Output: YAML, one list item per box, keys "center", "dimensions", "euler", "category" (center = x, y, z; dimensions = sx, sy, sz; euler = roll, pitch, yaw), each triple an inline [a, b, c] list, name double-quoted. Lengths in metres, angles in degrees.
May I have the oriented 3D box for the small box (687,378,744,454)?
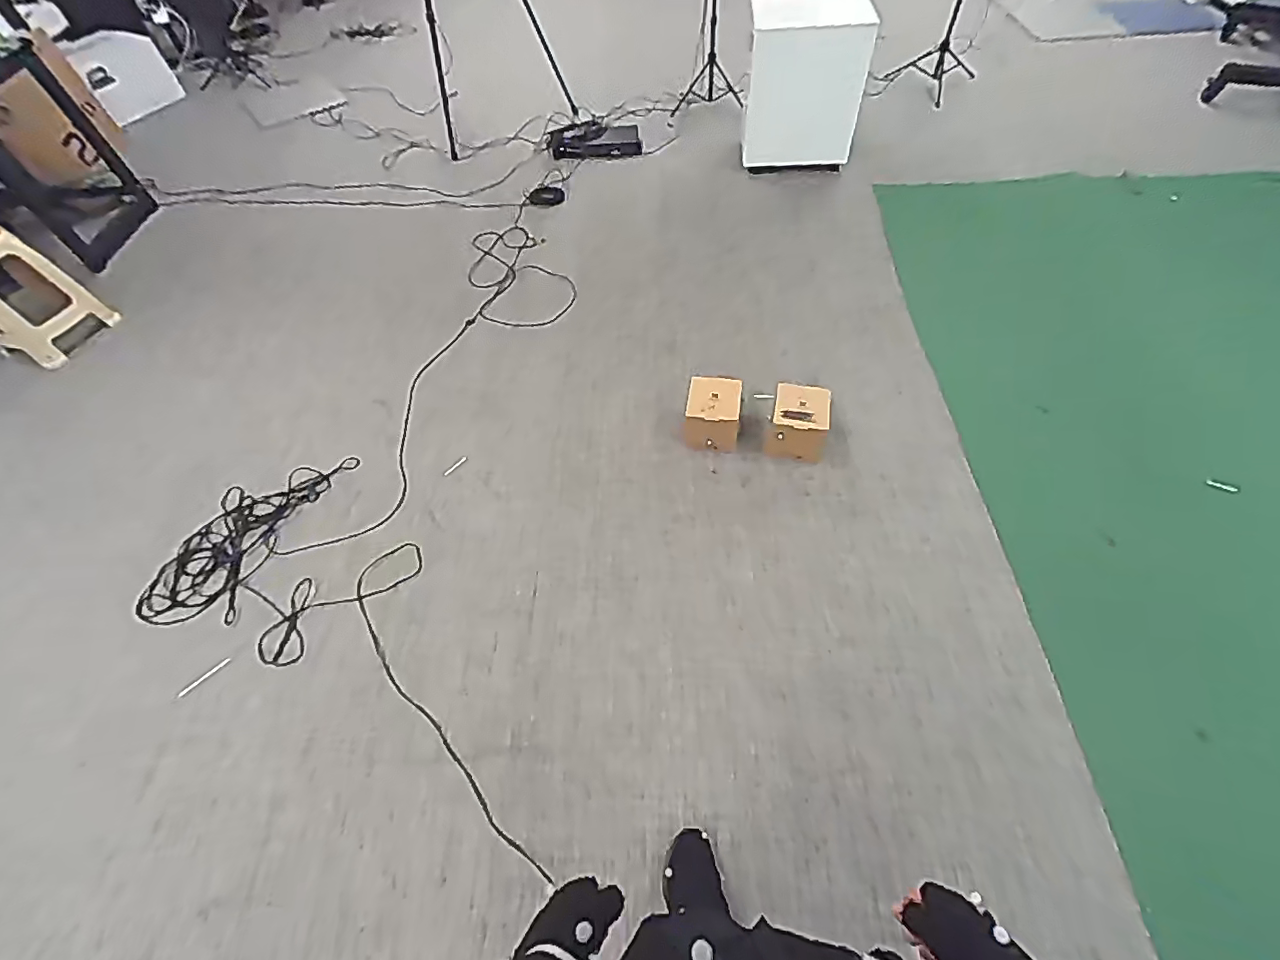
- center: [0.244, -0.209, 1.778]
  dimensions: [0.168, 0.176, 0.179]
  euler: [6, 57, 9]
  category: "small box"
